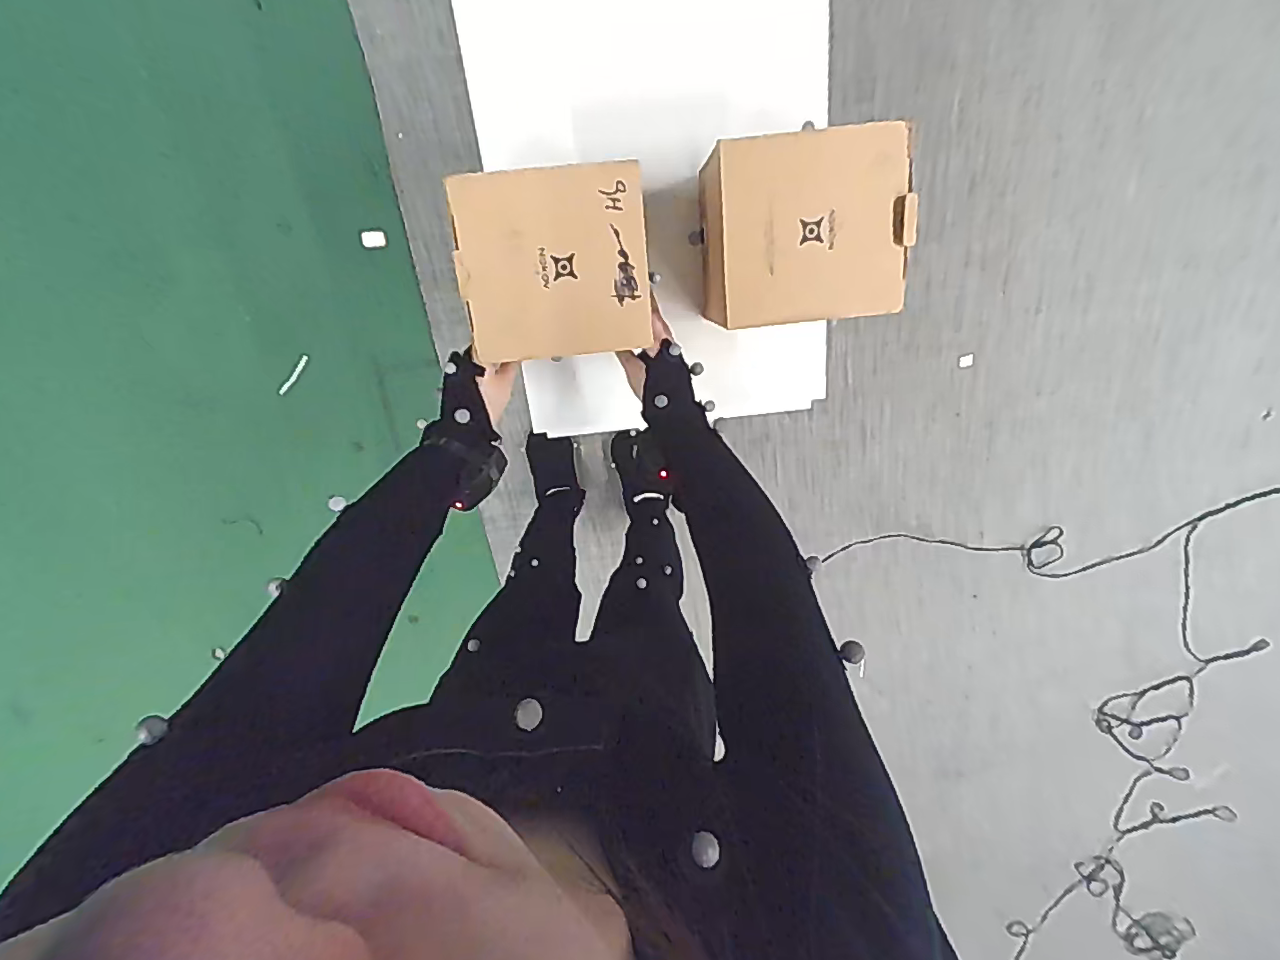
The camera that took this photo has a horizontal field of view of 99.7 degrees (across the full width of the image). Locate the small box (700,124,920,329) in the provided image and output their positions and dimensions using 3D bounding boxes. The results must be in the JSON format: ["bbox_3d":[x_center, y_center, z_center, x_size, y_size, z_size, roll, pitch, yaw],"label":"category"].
[{"bbox_3d":[0.164,-0.259,0.576,0.179,0.176,0.168,-5,110,1],"label":"small box"}]

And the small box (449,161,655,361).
[{"bbox_3d":[-0.080,-0.226,0.576,0.179,0.176,0.168,-6,112,-1],"label":"small box"}]
